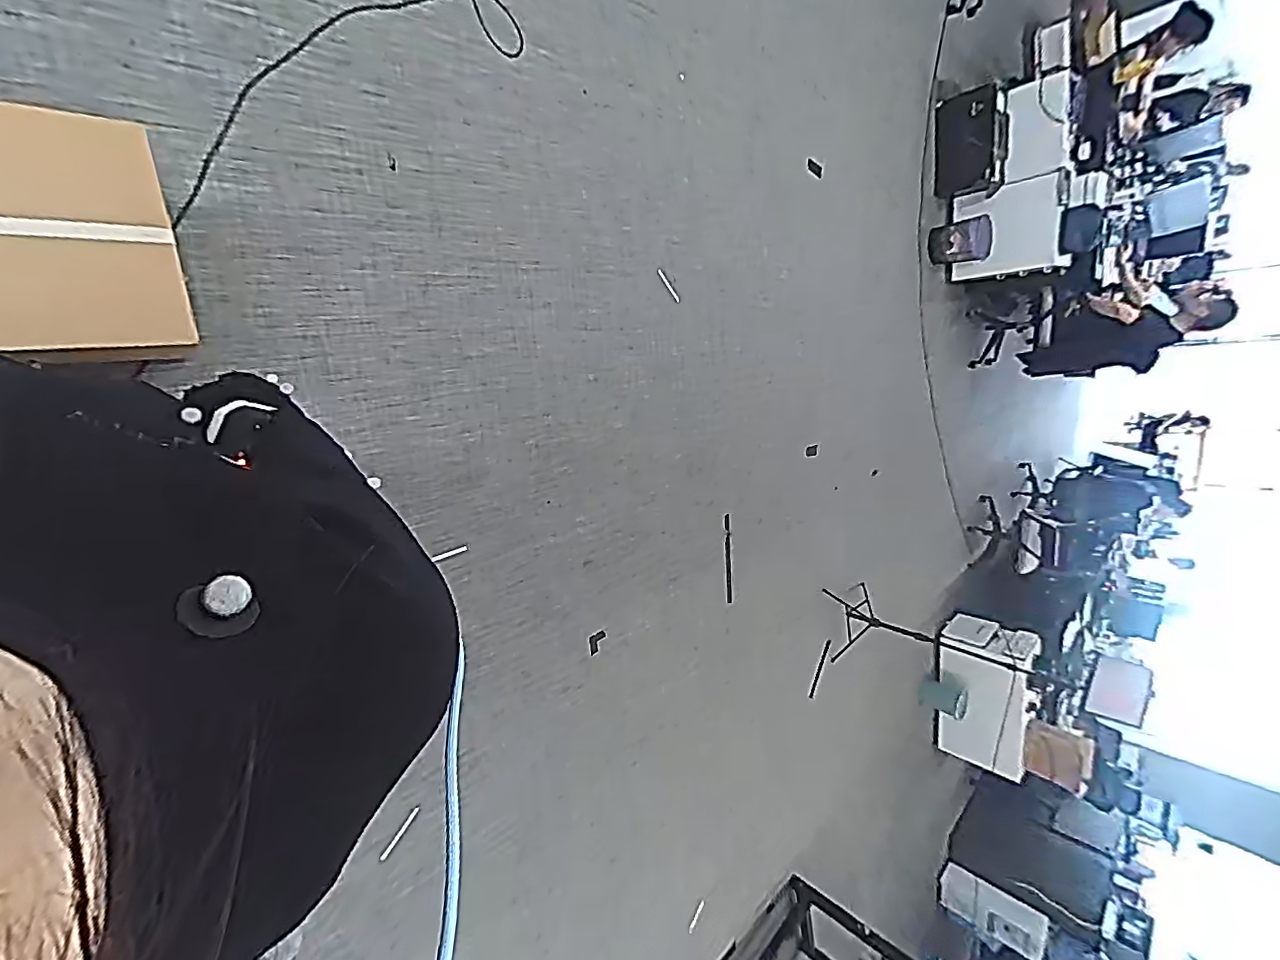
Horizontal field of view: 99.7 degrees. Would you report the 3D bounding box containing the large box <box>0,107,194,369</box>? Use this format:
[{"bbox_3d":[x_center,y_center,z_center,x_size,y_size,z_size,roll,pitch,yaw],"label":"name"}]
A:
[{"bbox_3d":[-0.957,-0.331,0.795,0.408,0.320,0.320,-16,107,-40],"label":"large box"}]
